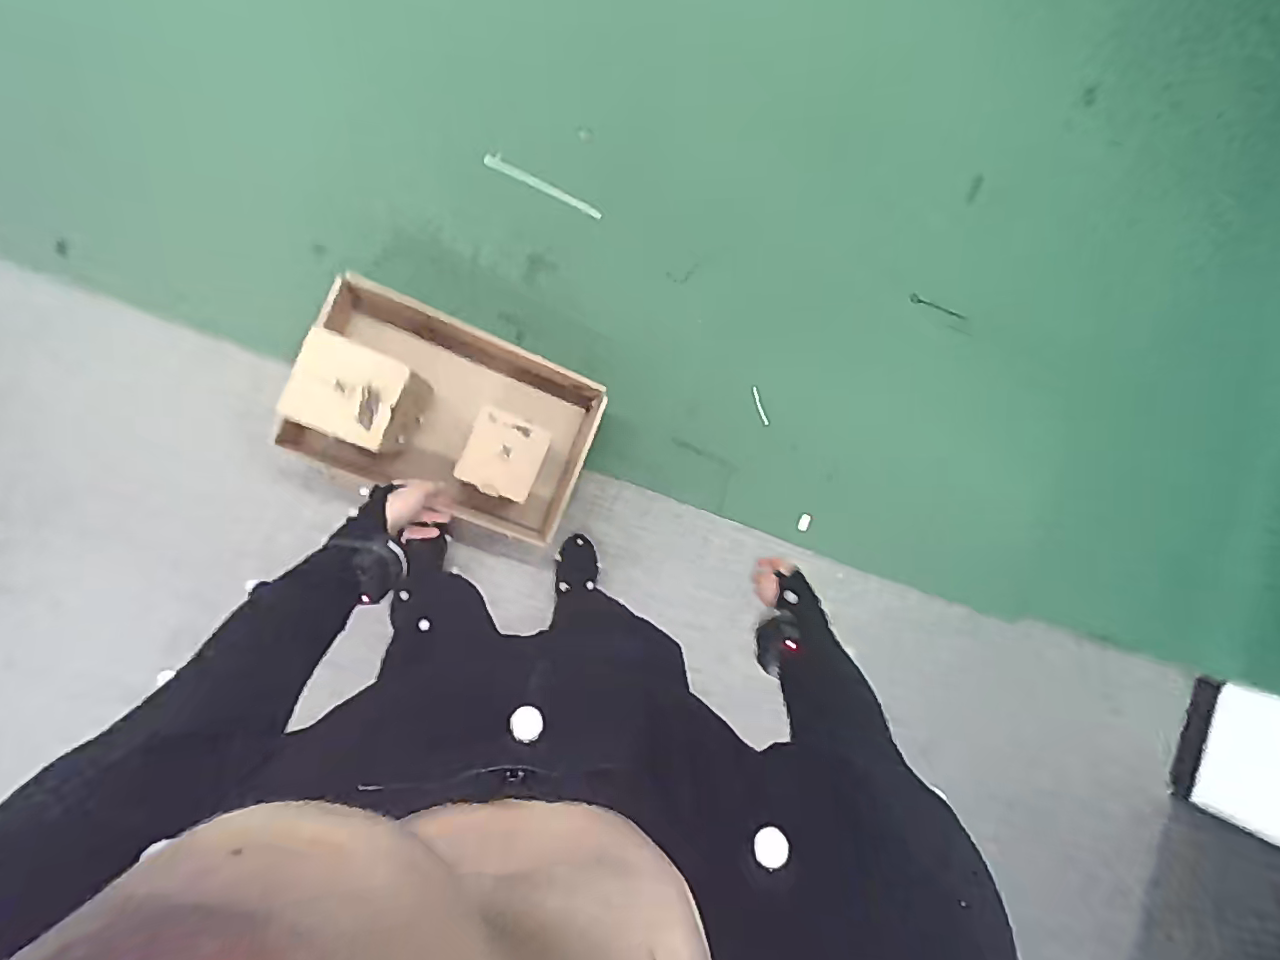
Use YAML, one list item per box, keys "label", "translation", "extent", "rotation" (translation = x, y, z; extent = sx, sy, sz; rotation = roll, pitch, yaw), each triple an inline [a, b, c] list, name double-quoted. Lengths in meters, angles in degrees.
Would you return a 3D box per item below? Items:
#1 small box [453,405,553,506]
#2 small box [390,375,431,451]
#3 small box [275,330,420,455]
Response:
- label: "small box"
  translation: [-0.313, -0.056, 1.254]
  extent: [0.168, 0.176, 0.179]
  rotation: [23, 87, -14]
- label: "small box"
  translation: [-0.576, -0.167, 1.177]
  extent: [0.179, 0.176, 0.168]
  rotation: [21, 88, -16]
- label: "small box"
  translation: [-0.534, -0.156, 1.018]
  extent: [0.179, 0.176, 0.168]
  rotation: [22, 86, -15]
